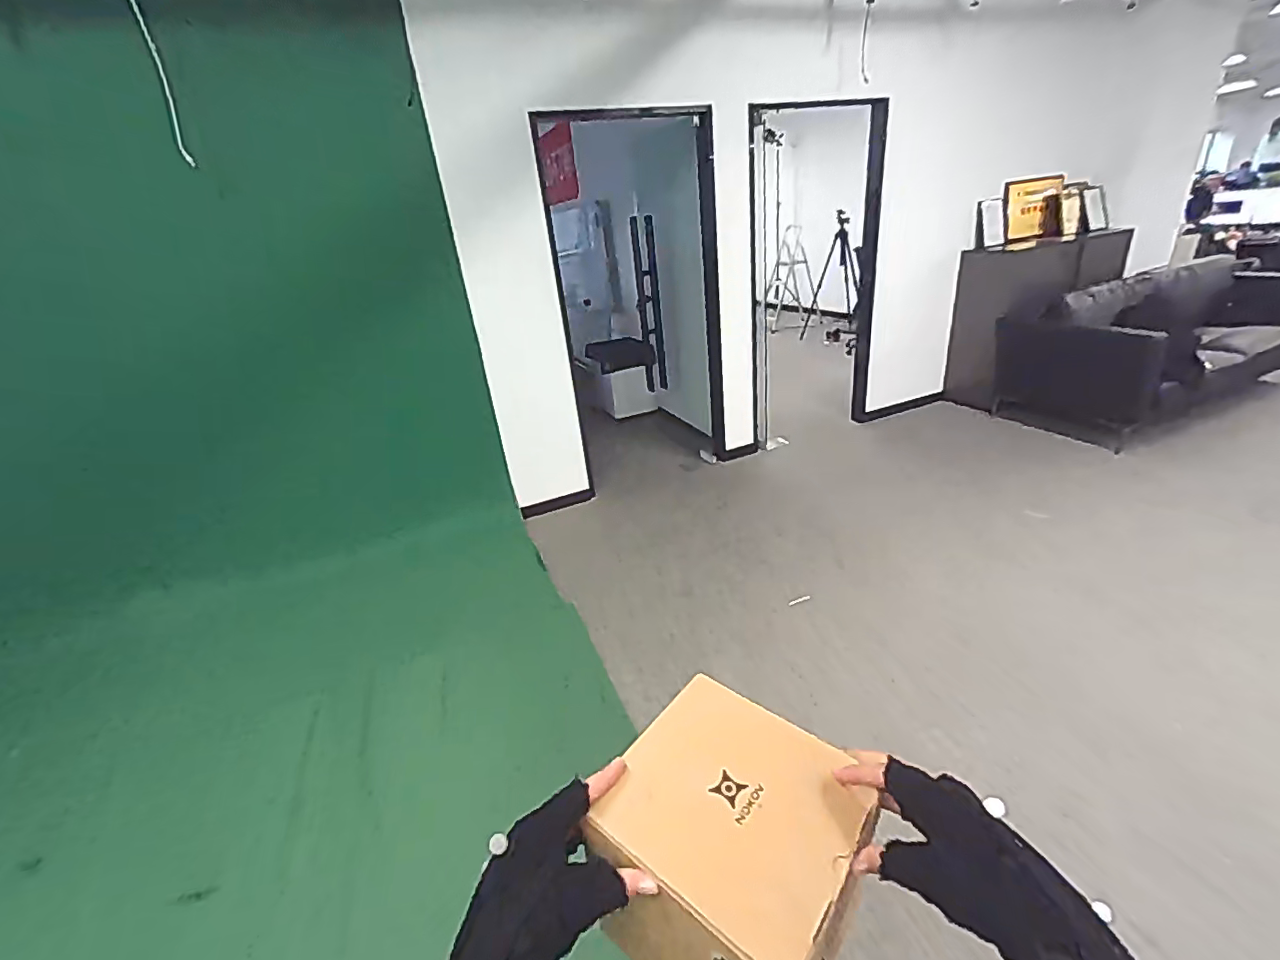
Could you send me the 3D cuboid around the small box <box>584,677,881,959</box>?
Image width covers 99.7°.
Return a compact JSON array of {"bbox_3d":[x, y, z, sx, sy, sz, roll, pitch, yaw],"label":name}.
[{"bbox_3d":[0.074,0.312,0.453,0.179,0.176,0.168,19,34,36],"label":"small box"}]
